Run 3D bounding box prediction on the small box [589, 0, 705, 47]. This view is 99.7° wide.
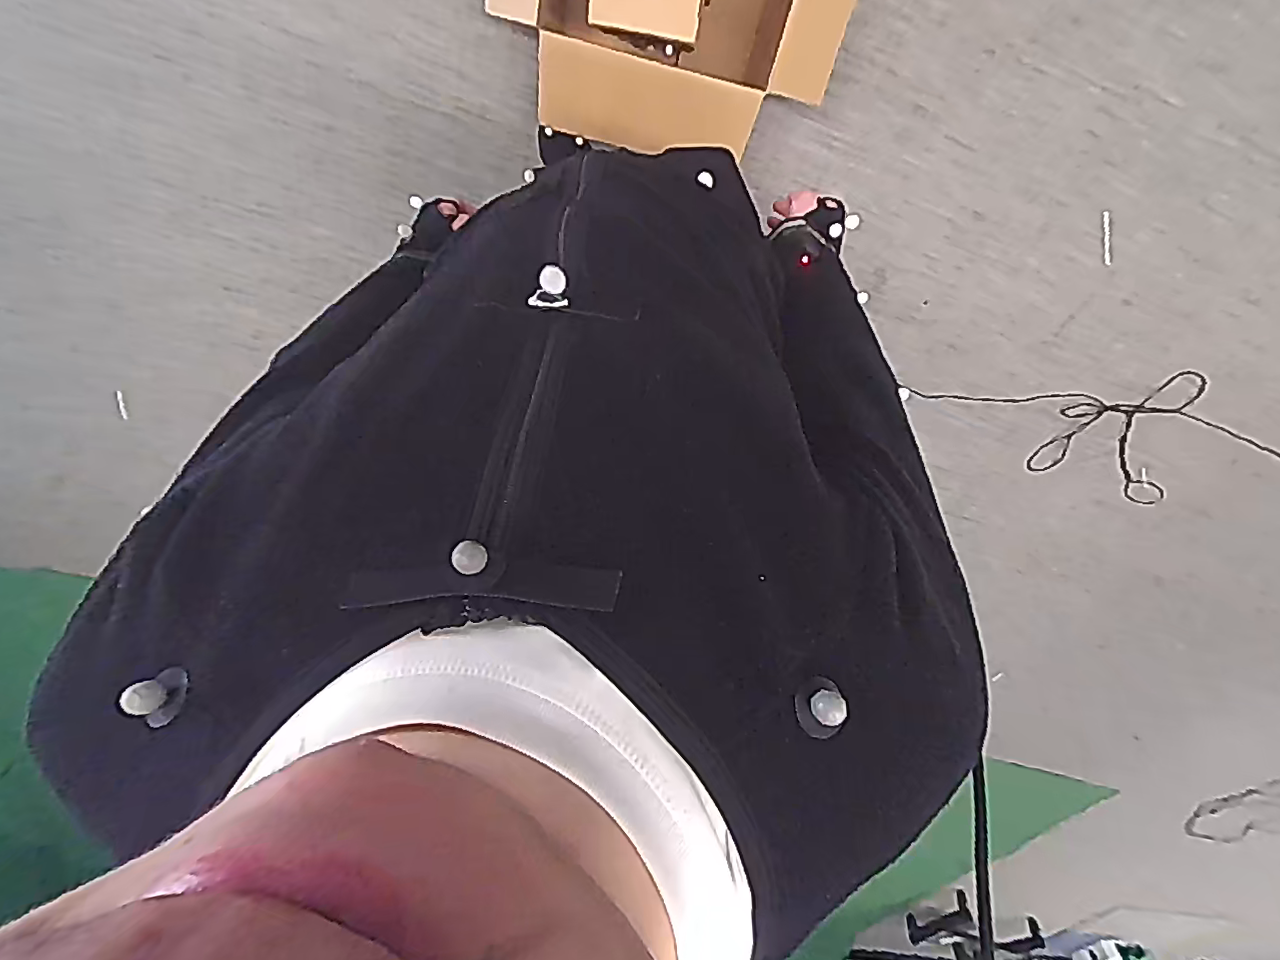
[{"bbox_3d":[0.025,-0.824,0.874,0.179,0.176,0.168,11,124,-1],"label":"small box"}]
